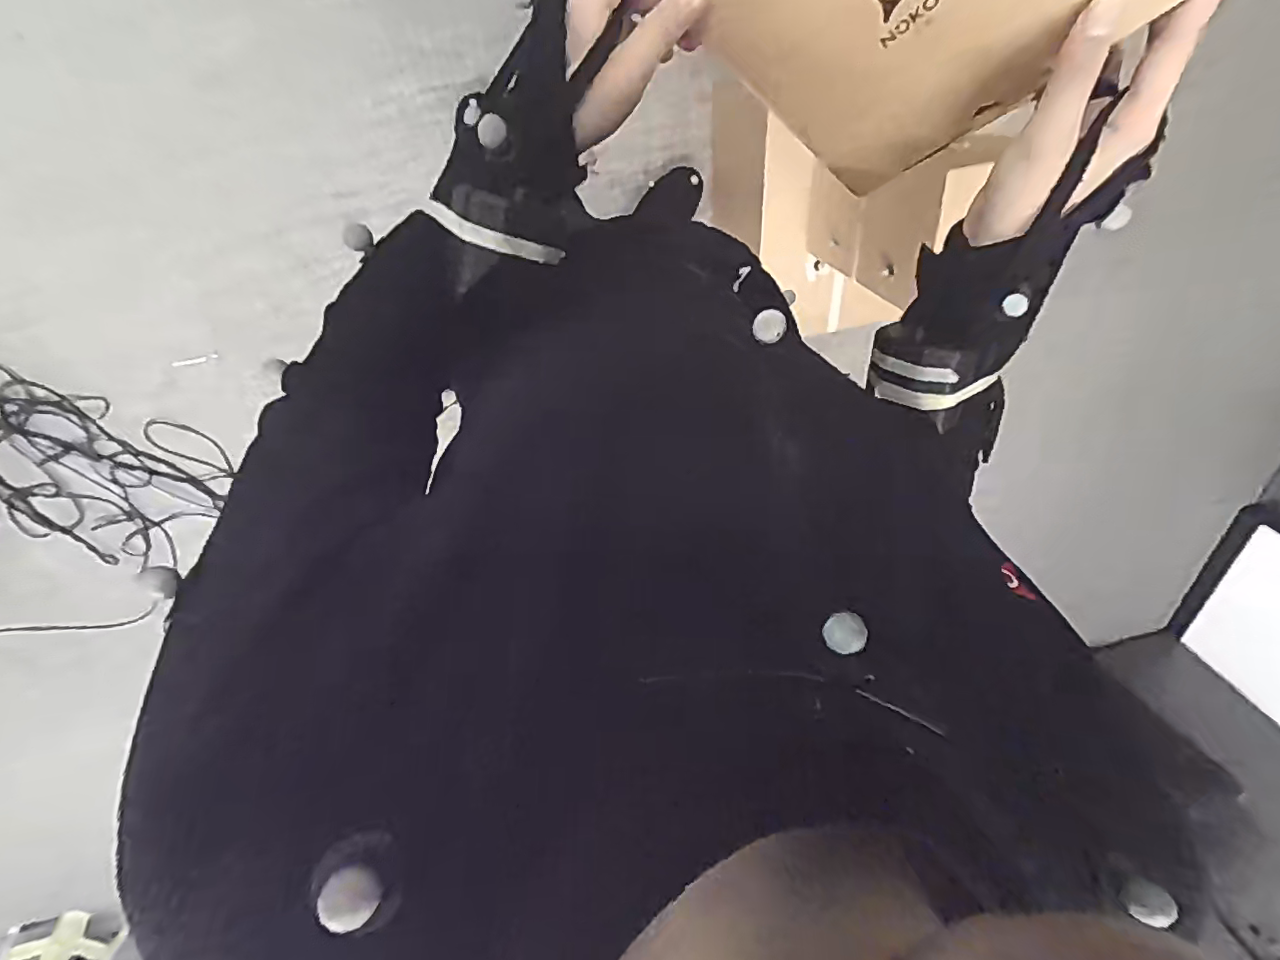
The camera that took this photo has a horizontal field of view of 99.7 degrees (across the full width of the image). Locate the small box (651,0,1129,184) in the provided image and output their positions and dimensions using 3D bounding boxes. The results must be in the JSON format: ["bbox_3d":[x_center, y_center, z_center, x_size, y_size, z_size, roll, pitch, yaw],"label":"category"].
[{"bbox_3d":[0.132,-0.308,0.273,0.179,0.168,0.176,24,73,-26],"label":"small box"}]

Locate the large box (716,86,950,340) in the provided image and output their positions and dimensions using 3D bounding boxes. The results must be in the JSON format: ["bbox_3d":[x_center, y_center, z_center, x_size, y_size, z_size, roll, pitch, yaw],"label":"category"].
[{"bbox_3d":[0.341,-0.542,1.060,0.320,0.320,0.408,-9,128,-3],"label":"large box"}]

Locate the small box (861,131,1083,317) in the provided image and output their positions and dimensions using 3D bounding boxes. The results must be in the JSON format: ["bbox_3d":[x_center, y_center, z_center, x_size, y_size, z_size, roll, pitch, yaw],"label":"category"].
[{"bbox_3d":[0.413,-0.340,0.711,0.168,0.176,0.179,-13,127,-4],"label":"small box"}]
